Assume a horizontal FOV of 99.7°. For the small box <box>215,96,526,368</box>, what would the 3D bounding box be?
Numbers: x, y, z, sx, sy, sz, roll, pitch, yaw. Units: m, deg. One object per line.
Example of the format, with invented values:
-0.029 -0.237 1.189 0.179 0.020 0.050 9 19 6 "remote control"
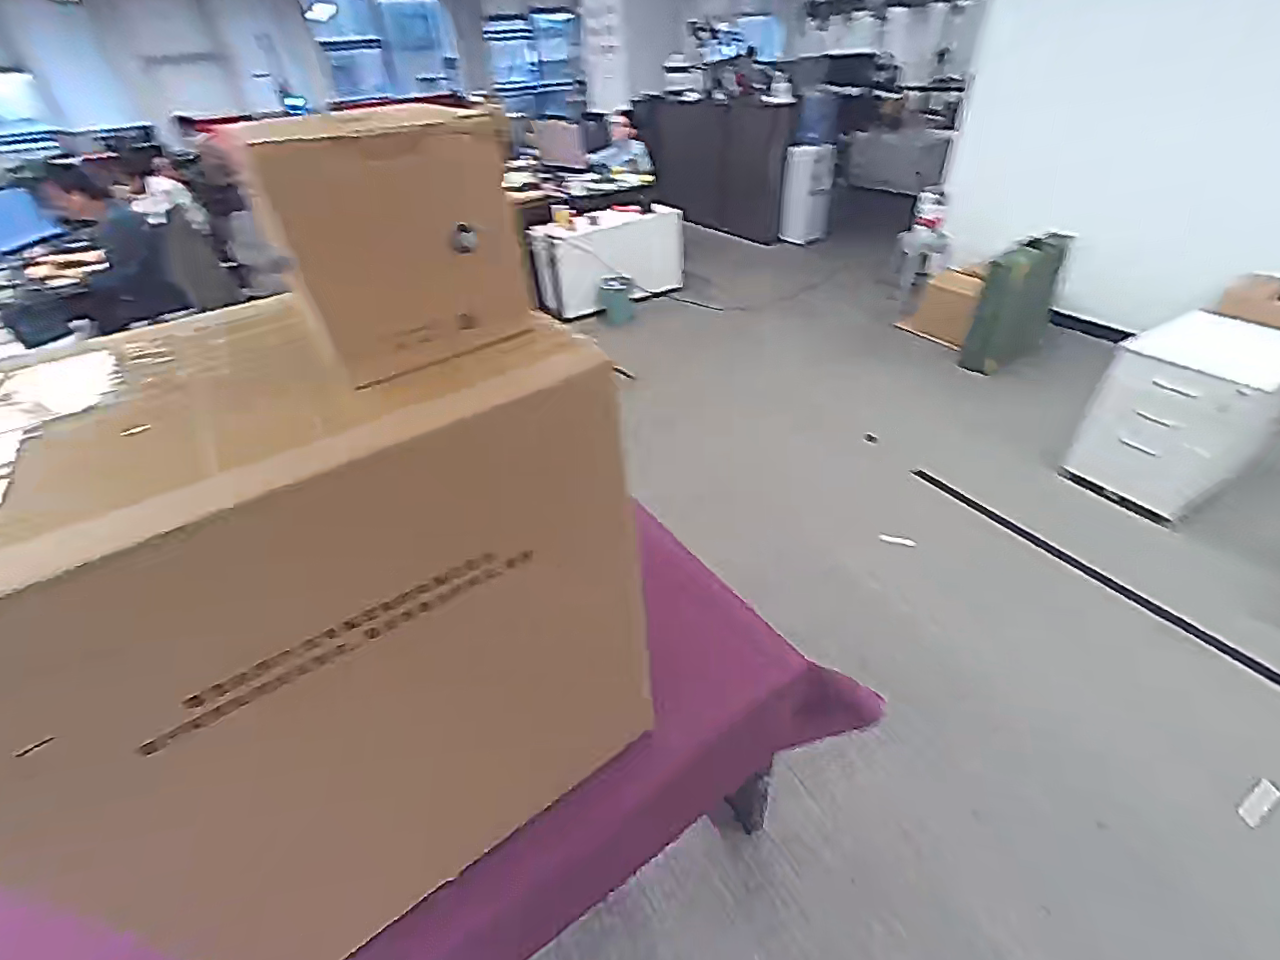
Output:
-0.216 -0.211 0.457 0.168 0.176 0.179 -27 43 -26 "small box"
